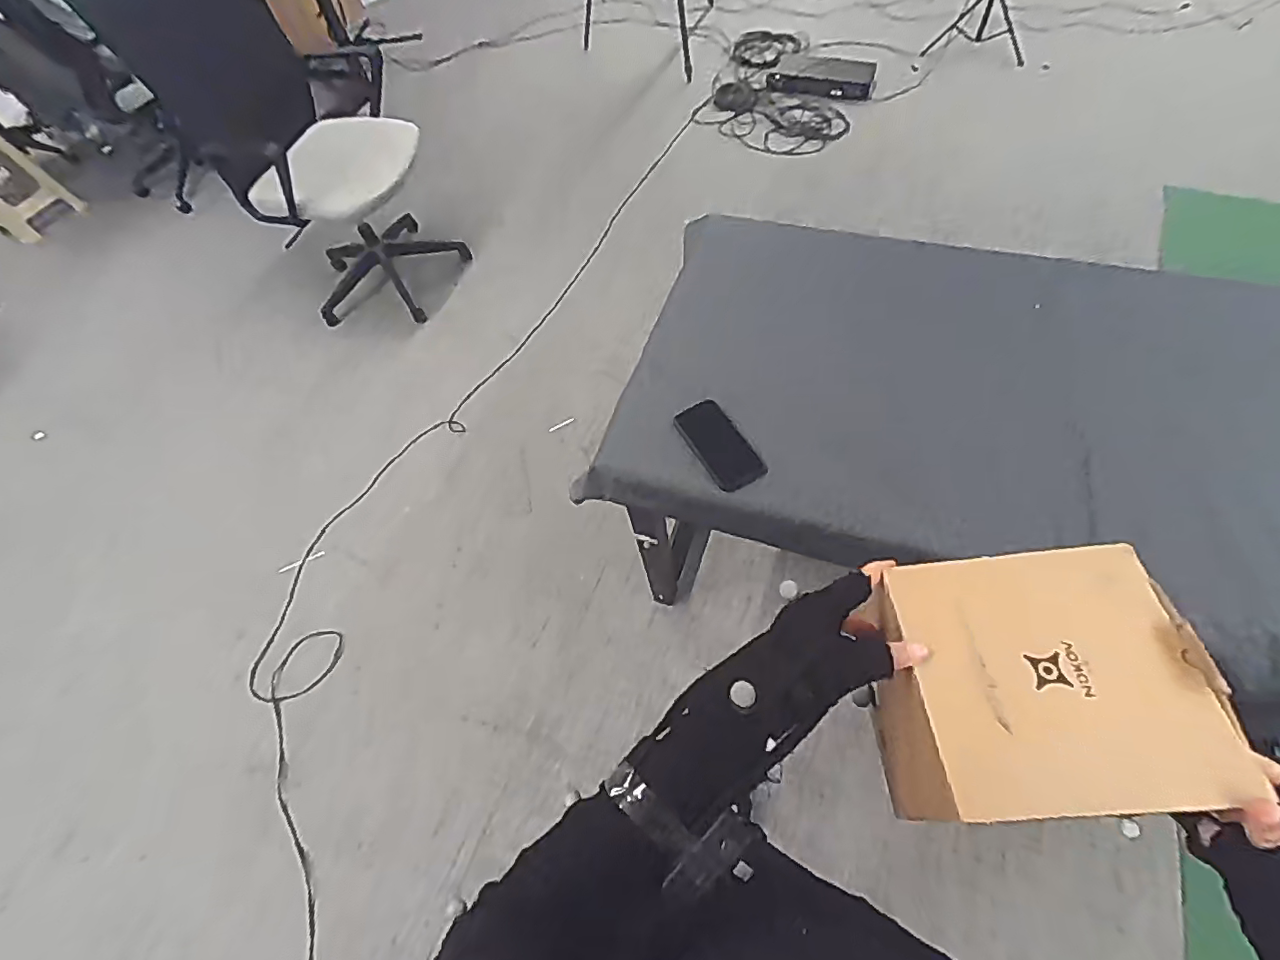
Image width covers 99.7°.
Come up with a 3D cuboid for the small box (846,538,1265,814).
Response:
[{"bbox_3d":[0.281,0.162,0.425,0.179,0.176,0.168,-8,57,6],"label":"small box"}]
